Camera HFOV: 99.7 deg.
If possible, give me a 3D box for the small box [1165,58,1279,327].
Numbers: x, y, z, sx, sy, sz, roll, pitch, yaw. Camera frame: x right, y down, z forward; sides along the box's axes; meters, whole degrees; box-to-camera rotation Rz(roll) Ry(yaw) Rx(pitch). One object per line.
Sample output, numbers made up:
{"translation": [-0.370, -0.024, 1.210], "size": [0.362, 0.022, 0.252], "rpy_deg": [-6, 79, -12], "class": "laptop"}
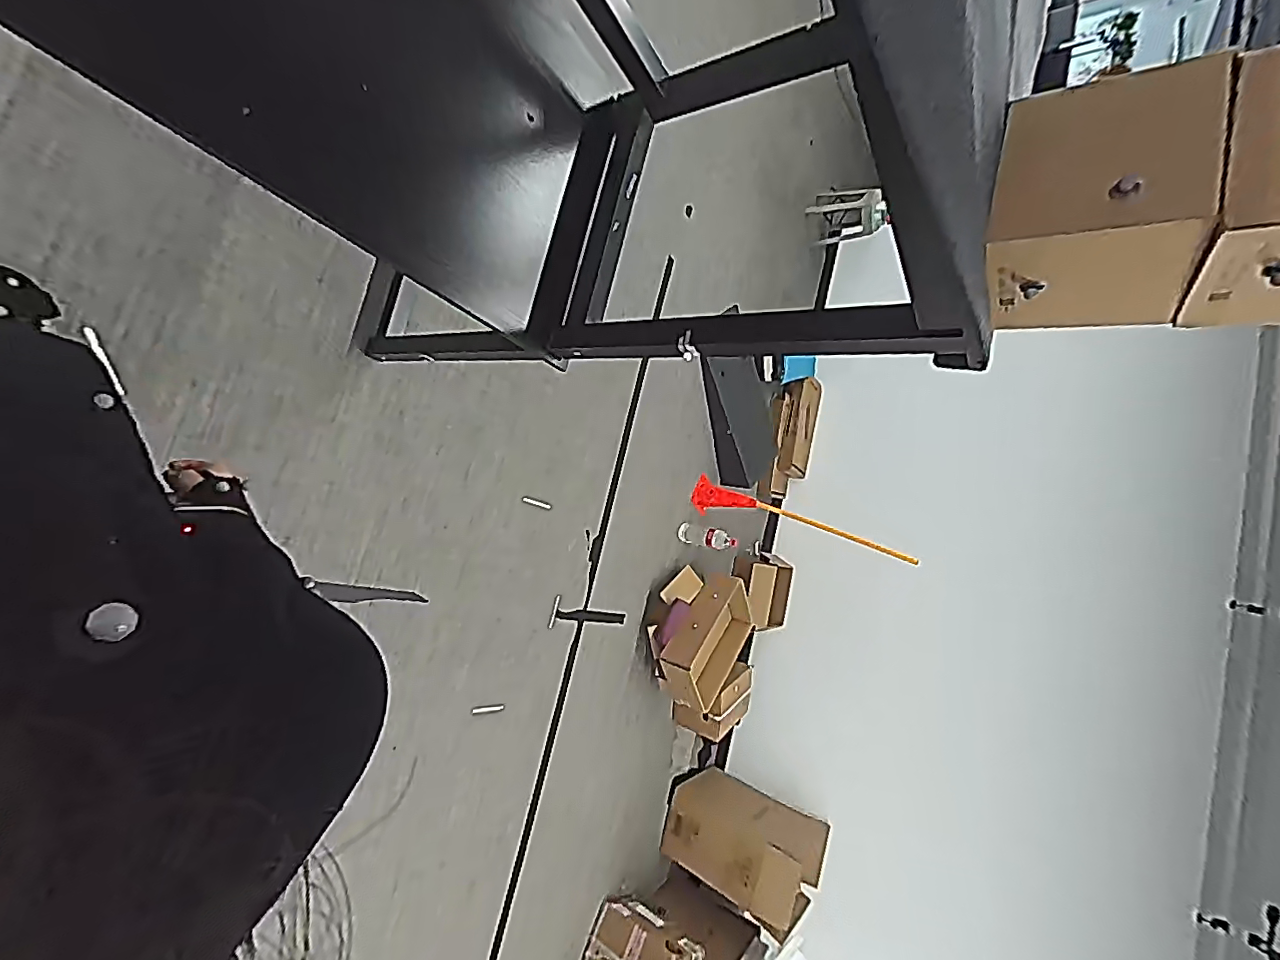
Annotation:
{"translation": [0.601, -0.252, 0.474], "size": [0.168, 0.176, 0.179], "rpy_deg": [25, 77, -53], "class": "small box"}
